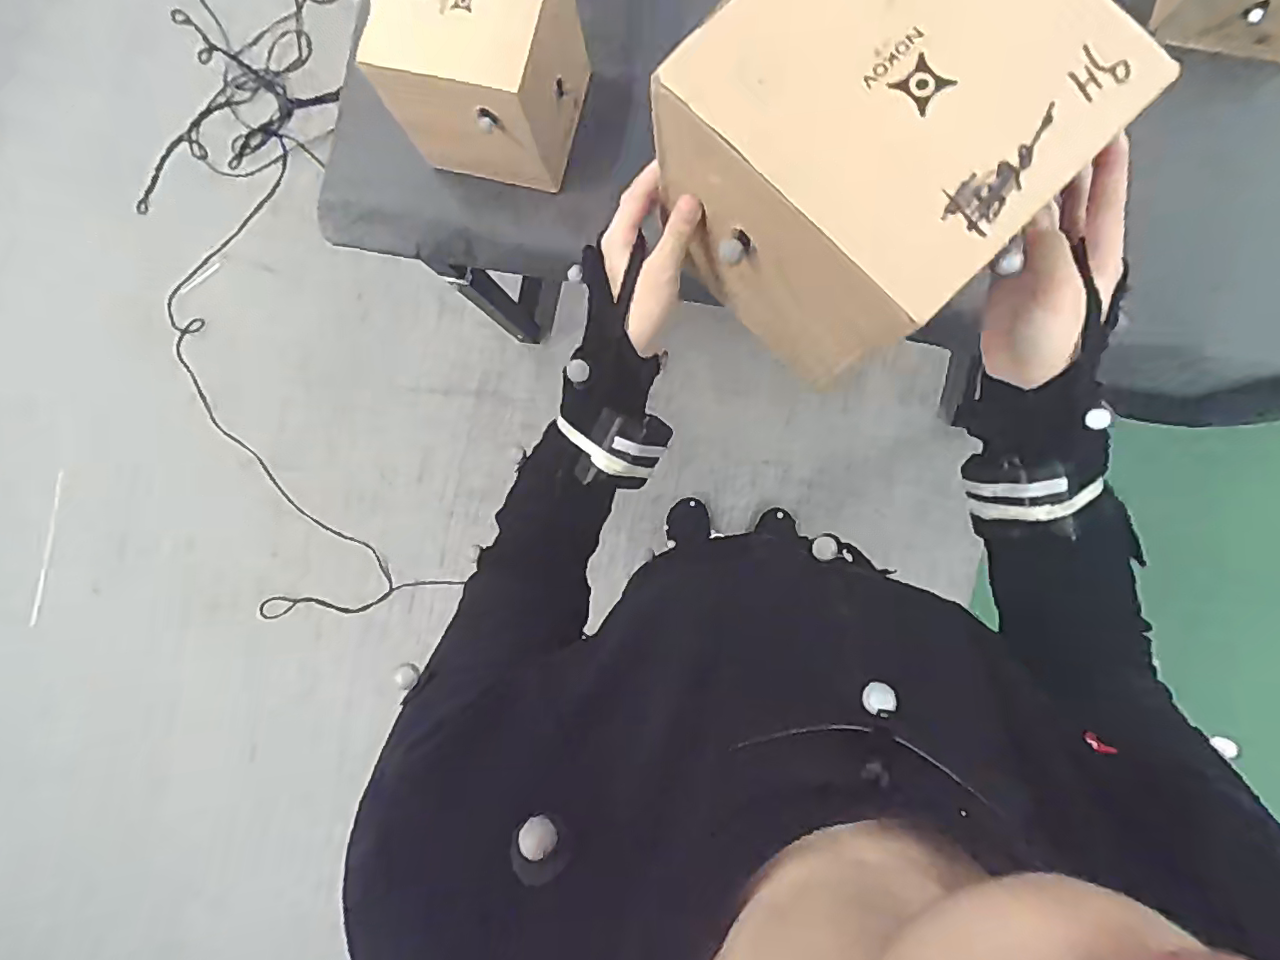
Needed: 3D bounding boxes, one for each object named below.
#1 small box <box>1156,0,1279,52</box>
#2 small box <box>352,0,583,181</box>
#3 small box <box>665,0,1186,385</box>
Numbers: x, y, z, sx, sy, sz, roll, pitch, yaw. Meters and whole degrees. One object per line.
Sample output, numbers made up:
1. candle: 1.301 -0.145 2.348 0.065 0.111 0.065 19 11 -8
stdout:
1. small box: 0.665 -0.575 0.522 0.168 0.176 0.179 15 93 6
2. small box: -0.174 -0.469 0.604 0.179 0.176 0.168 14 88 5
3. small box: 0.132 -0.183 0.328 0.168 0.176 0.179 -44 85 1
